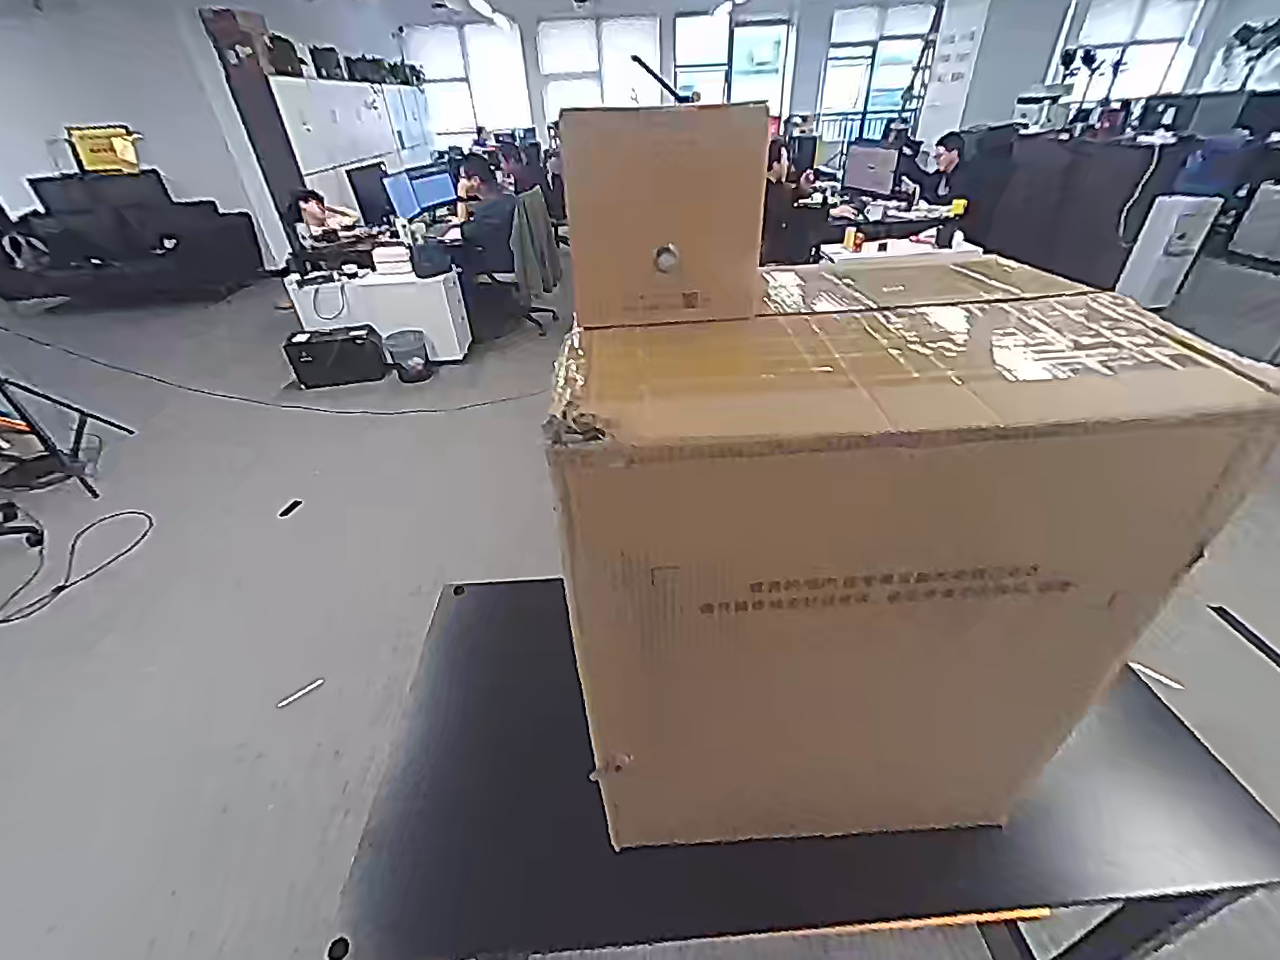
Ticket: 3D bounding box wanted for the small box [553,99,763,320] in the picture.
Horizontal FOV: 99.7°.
[{"bbox_3d":[0.010,-0.263,0.527,0.168,0.176,0.179,-5,33,-3],"label":"small box"}]
